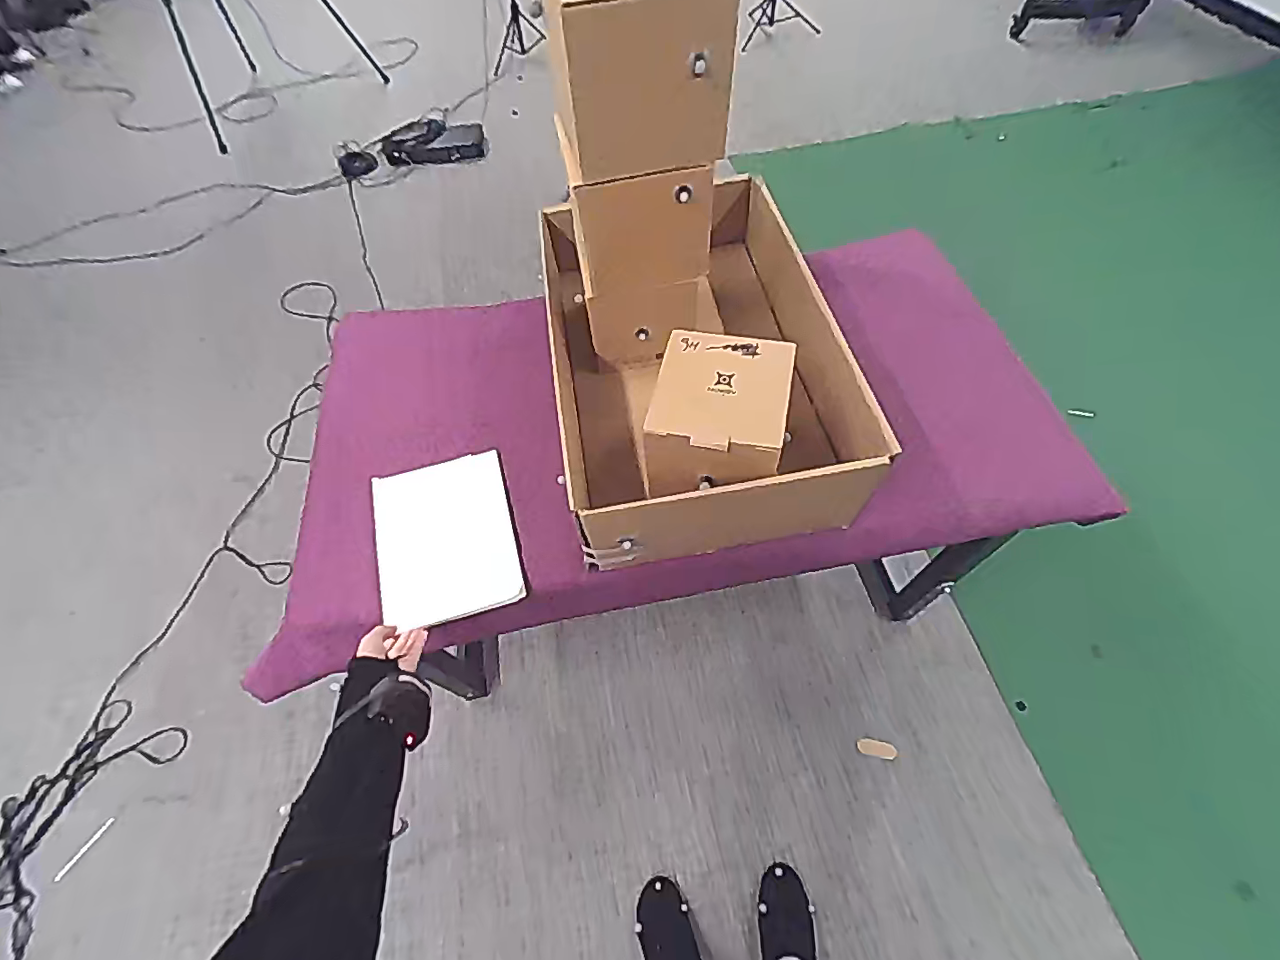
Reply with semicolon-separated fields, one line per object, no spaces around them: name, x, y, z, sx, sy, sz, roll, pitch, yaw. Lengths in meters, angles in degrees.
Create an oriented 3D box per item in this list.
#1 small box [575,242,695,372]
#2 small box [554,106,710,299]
small box;-0.006;-0.295;0.889;0.168;0.176;0.179;-10;60;-2
small box;-0.010;-0.376;0.749;0.179;0.176;0.168;-12;60;-4
